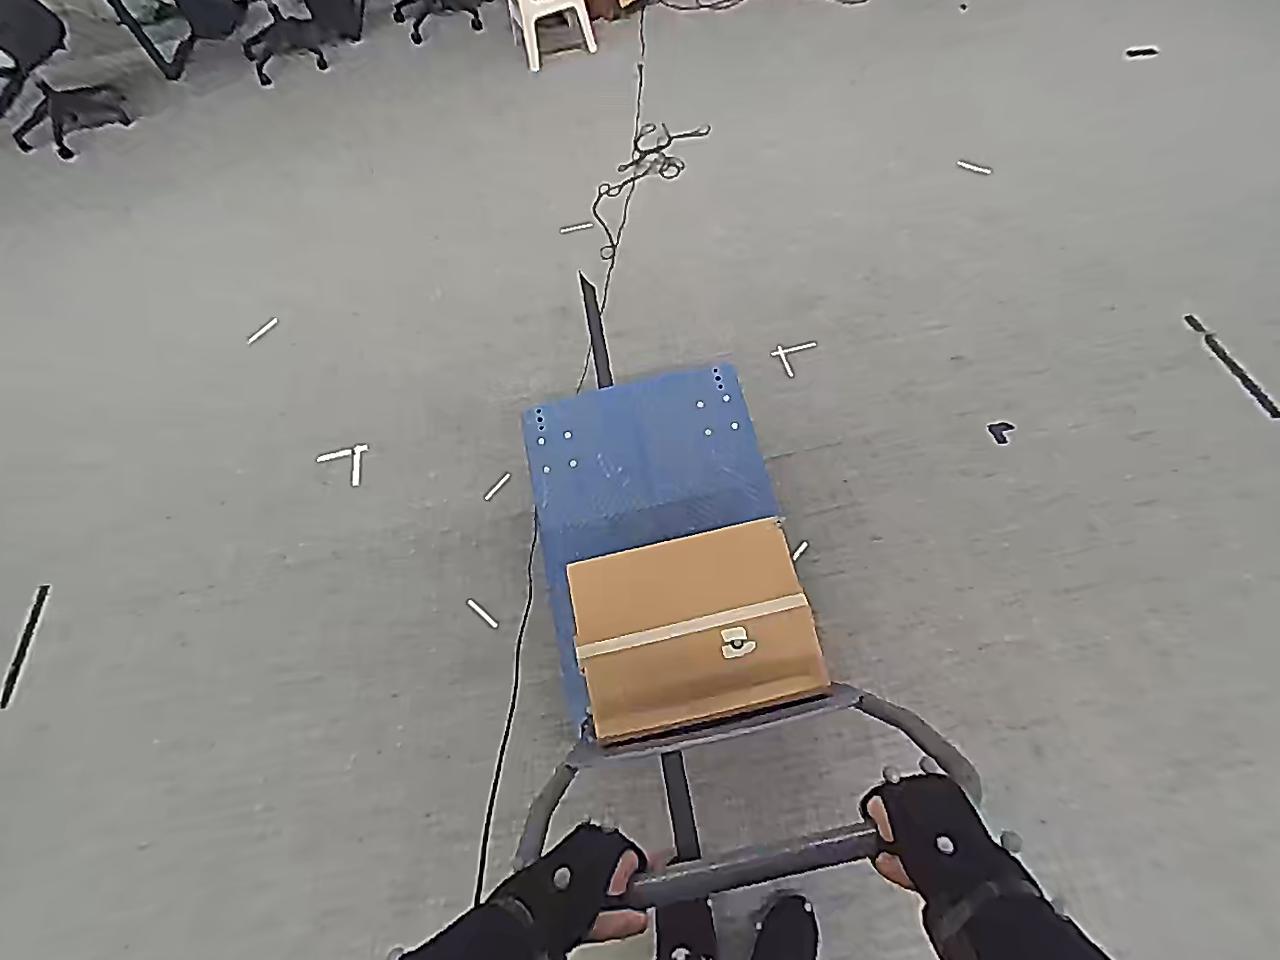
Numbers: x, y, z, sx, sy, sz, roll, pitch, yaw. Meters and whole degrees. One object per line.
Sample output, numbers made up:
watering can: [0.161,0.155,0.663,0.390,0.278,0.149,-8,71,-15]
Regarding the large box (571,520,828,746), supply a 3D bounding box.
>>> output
large box: [0.104,0.311,1.105,0.408,0.320,0.320,-14,72,-1]
